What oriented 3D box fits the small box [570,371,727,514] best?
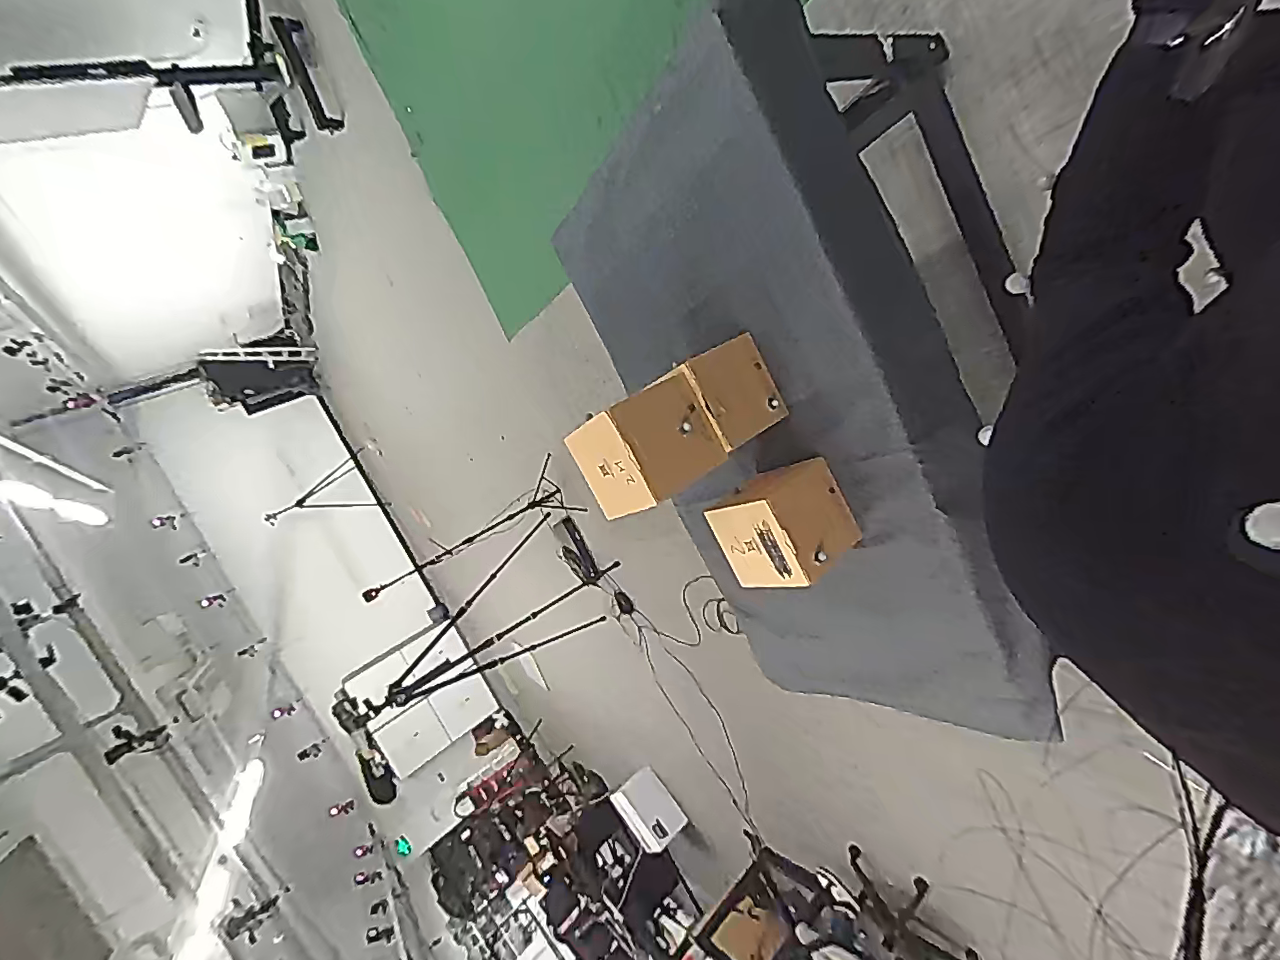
[{"bbox_3d":[0.014,-0.061,0.924,0.179,0.176,0.168,-23,98,58],"label":"small box"}]

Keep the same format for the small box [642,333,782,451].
[{"bbox_3d":[0.136,-0.147,0.995,0.179,0.176,0.168,-19,100,59],"label":"small box"}]
